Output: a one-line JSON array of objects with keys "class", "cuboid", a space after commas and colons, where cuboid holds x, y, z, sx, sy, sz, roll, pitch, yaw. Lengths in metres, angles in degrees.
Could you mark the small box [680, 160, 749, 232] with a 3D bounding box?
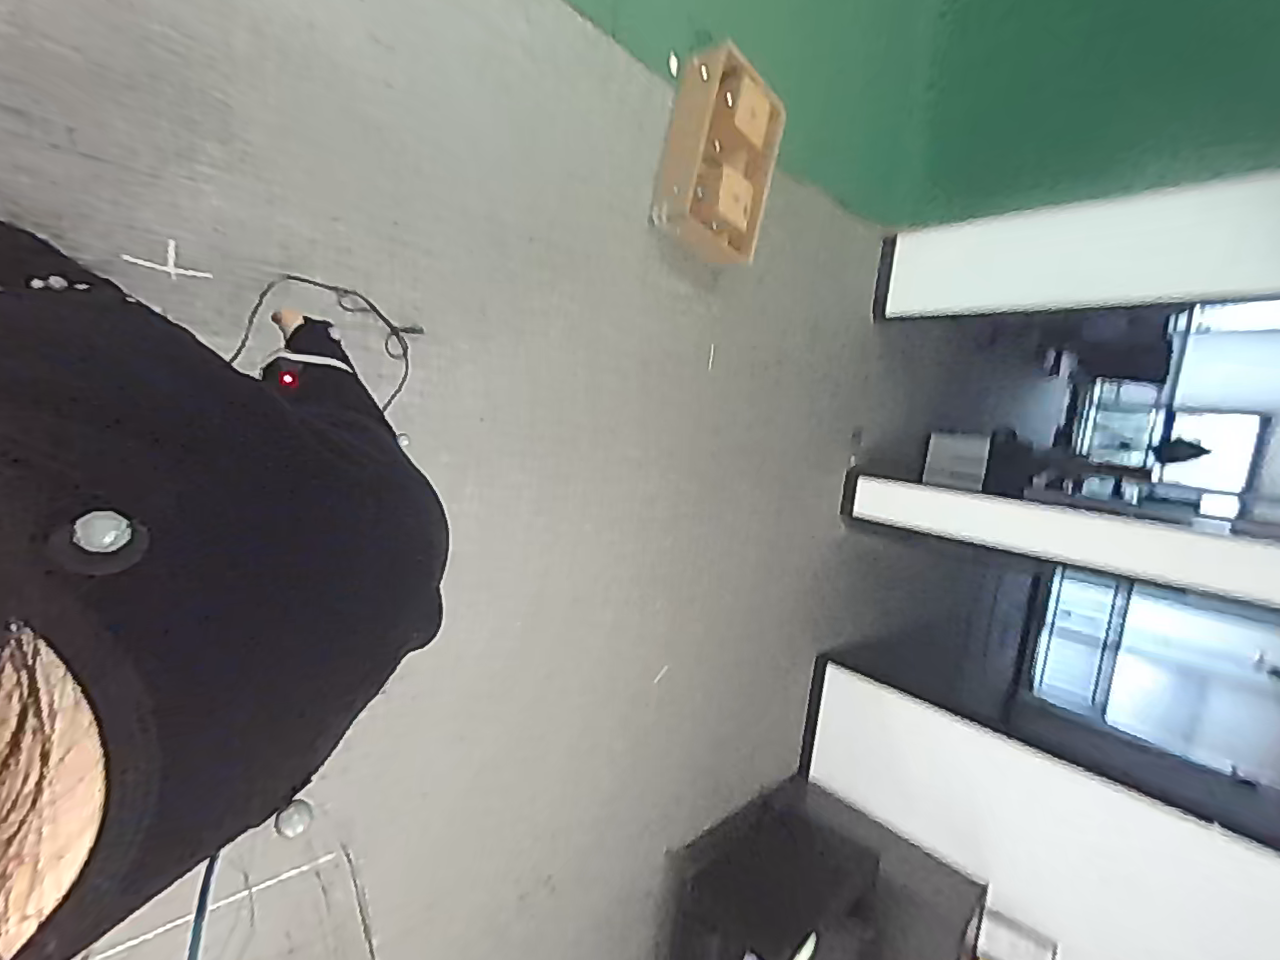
[{"class": "small box", "cuboid": [0.271, -1.032, 1.987, 0.179, 0.176, 0.168, 6, 95, -44]}]
